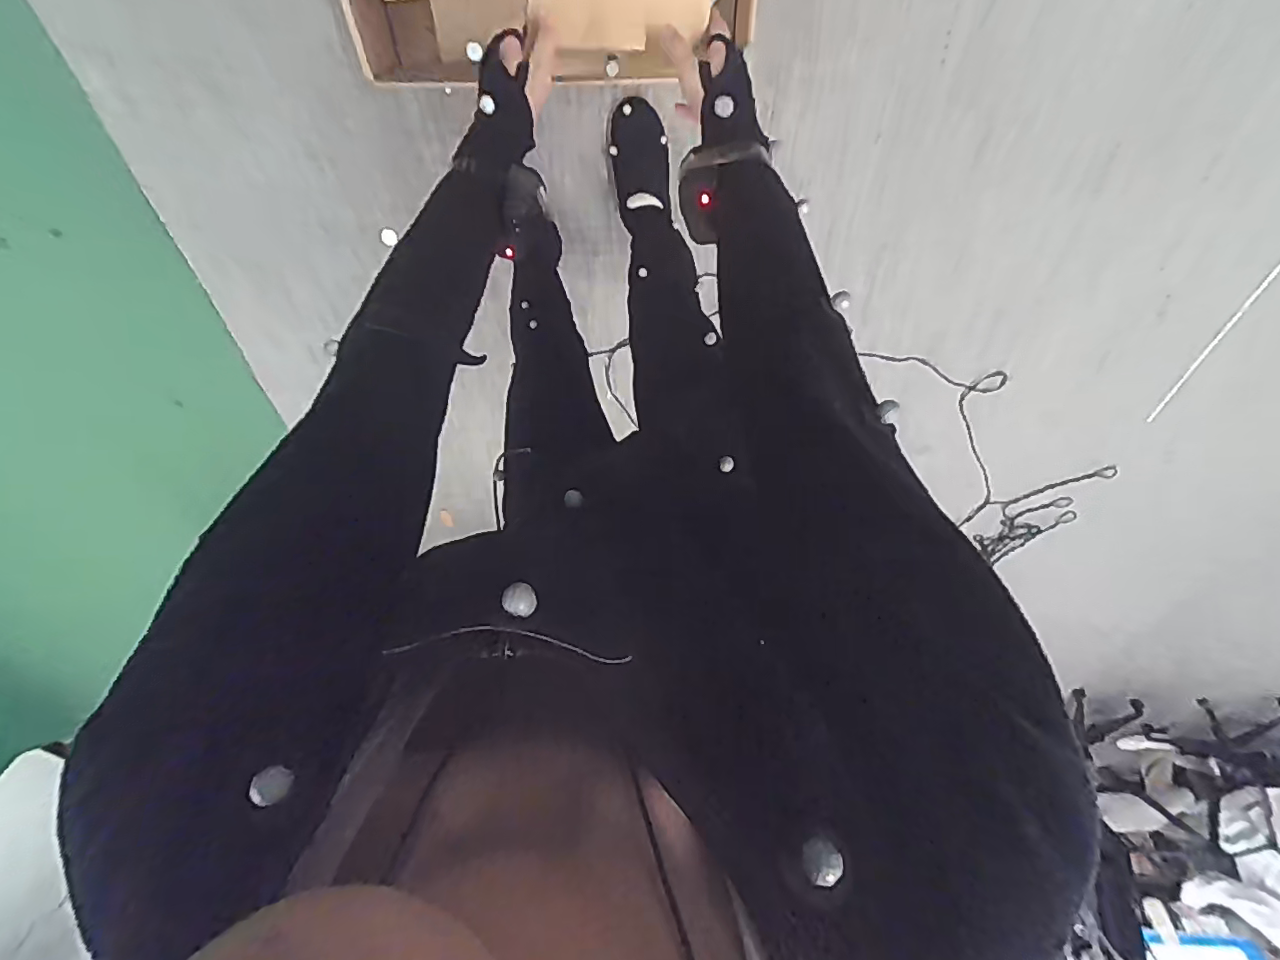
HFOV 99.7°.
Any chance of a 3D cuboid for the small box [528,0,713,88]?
[{"bbox_3d":[-0.017,-0.519,0.558,0.179,0.176,0.168,1,118,2],"label":"small box"}]
